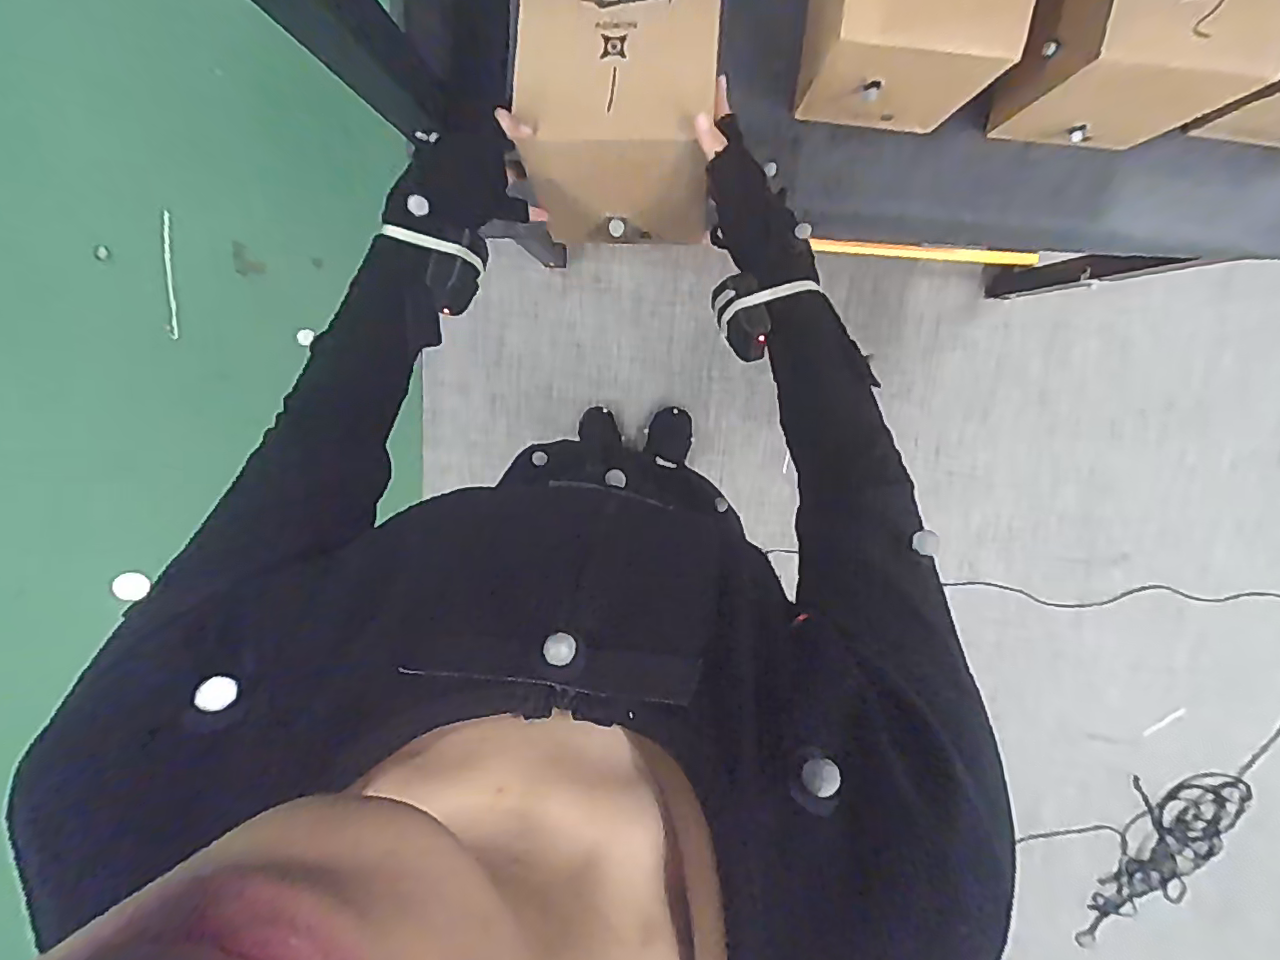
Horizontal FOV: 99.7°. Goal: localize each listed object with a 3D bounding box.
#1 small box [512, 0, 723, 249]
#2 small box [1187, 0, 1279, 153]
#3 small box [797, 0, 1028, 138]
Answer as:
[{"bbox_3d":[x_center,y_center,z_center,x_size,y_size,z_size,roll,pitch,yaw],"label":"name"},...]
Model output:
[{"bbox_3d":[-0.014,-0.352,0.523,0.168,0.176,0.179,4,87,4],"label":"small box"},{"bbox_3d":[0.719,-0.449,0.538,0.168,0.176,0.179,8,101,0],"label":"small box"},{"bbox_3d":[0.268,-0.478,0.547,0.168,0.176,0.179,7,102,1],"label":"small box"}]
